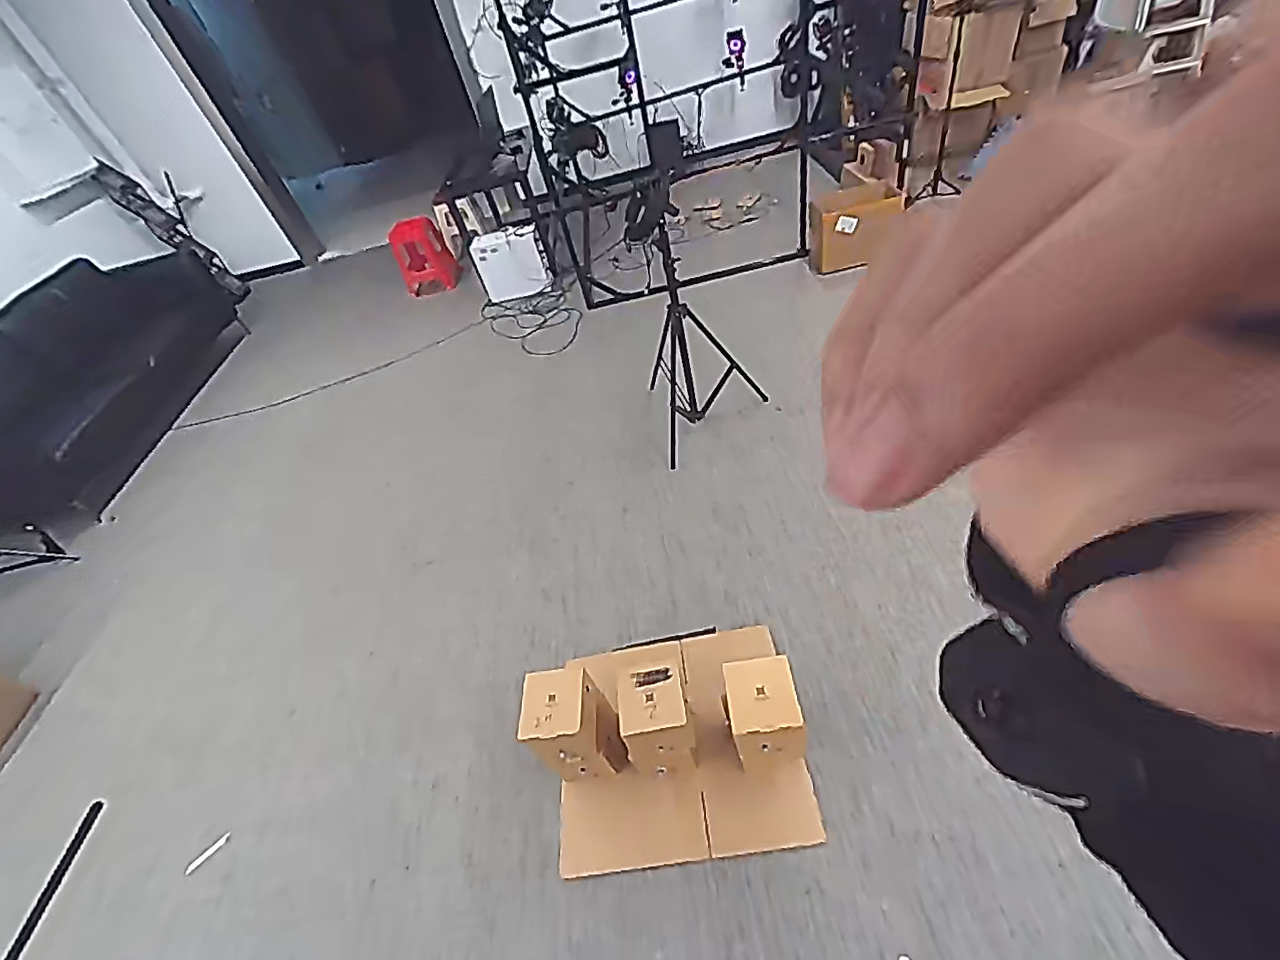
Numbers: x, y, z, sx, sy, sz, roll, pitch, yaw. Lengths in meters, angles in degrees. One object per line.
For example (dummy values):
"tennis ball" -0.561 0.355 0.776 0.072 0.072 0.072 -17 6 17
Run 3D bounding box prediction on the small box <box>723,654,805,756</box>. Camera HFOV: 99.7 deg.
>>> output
"small box" 0.305 0.562 1.347 0.168 0.176 0.179 -11 46 6

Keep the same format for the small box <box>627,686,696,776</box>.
"small box" 0.060 0.704 1.515 0.168 0.176 0.179 -9 45 8

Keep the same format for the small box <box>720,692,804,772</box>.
"small box" 0.334 0.666 1.470 0.179 0.176 0.168 -18 45 -1

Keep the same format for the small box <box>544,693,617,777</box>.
"small box" -0.165 0.737 1.551 0.168 0.176 0.179 -11 46 7

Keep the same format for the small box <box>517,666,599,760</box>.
"small box" -0.211 0.621 1.441 0.168 0.176 0.179 -10 45 8
